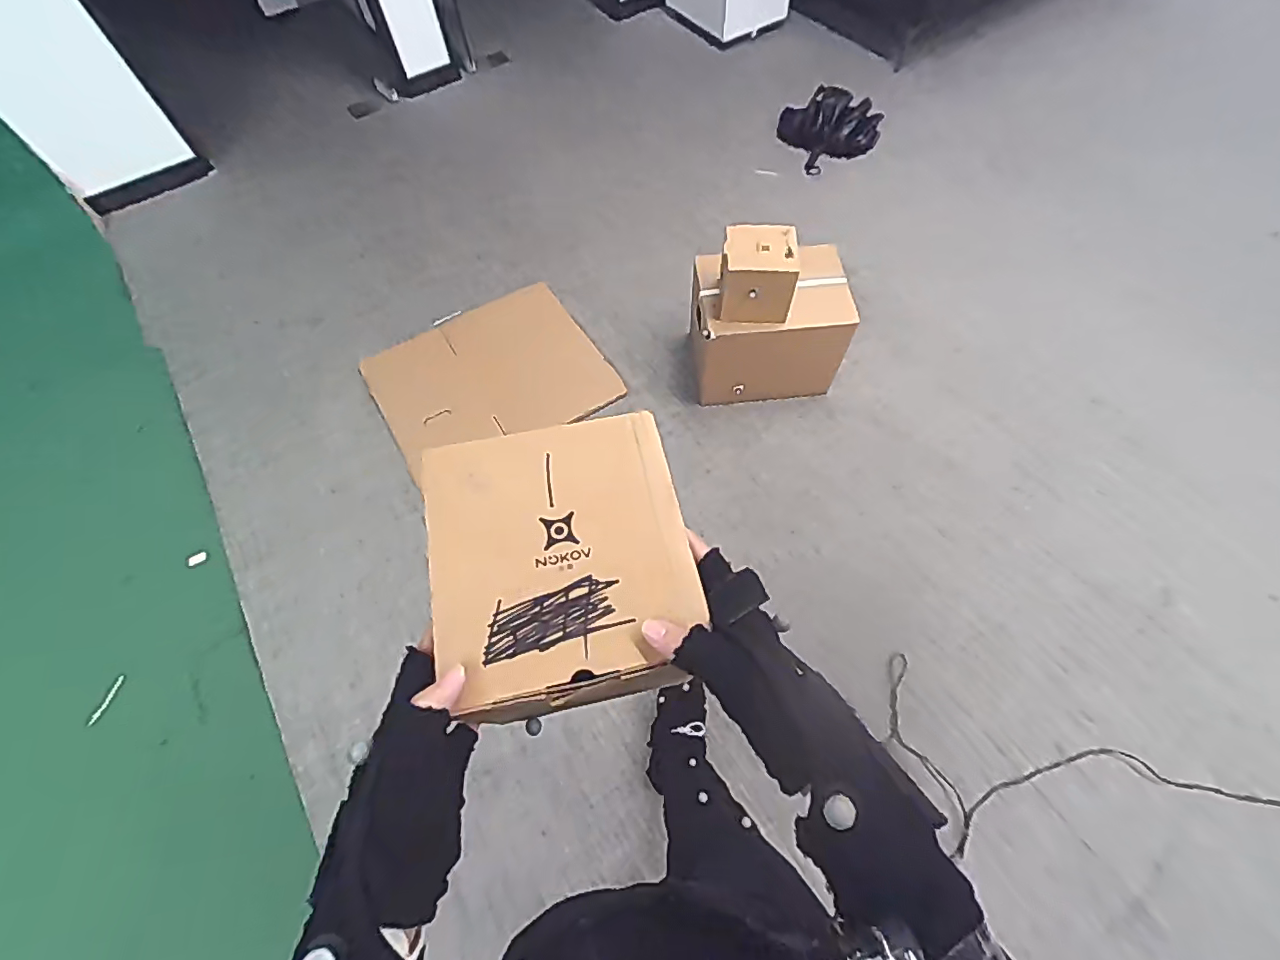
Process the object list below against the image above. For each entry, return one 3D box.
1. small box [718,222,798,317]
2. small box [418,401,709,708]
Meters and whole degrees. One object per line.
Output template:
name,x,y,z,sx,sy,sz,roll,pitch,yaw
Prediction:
small box,0.295,-0.539,1.398,0.179,0.176,0.168,-1,61,2
small box,-0.056,0.068,0.432,0.168,0.176,0.179,-15,68,-7
